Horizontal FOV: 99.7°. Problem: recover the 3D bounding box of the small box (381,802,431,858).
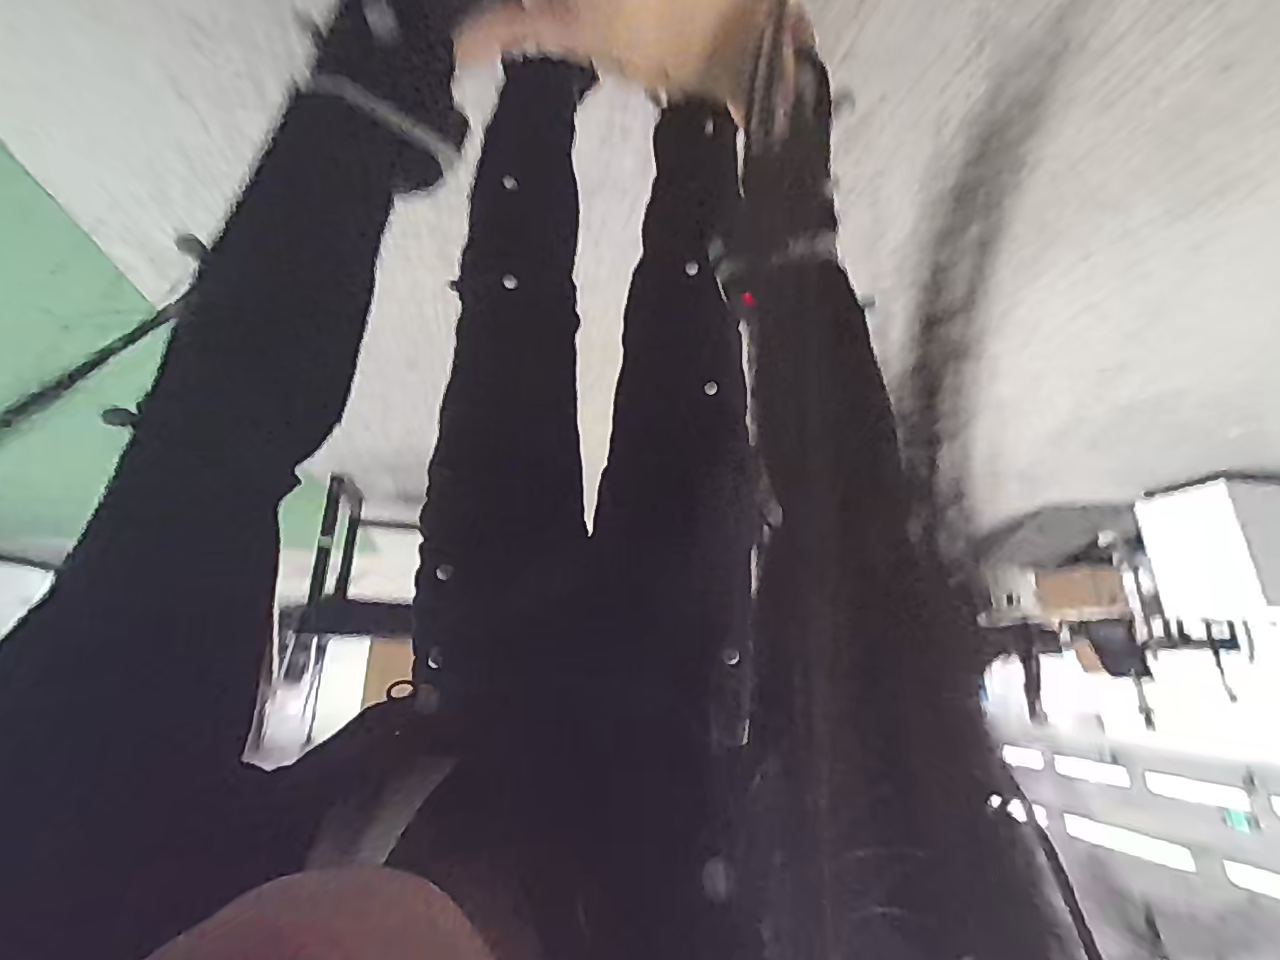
[{"bbox_3d":[-1.012,1.506,2.338,0.168,0.176,0.179,10,155,-28],"label":"small box"}]
